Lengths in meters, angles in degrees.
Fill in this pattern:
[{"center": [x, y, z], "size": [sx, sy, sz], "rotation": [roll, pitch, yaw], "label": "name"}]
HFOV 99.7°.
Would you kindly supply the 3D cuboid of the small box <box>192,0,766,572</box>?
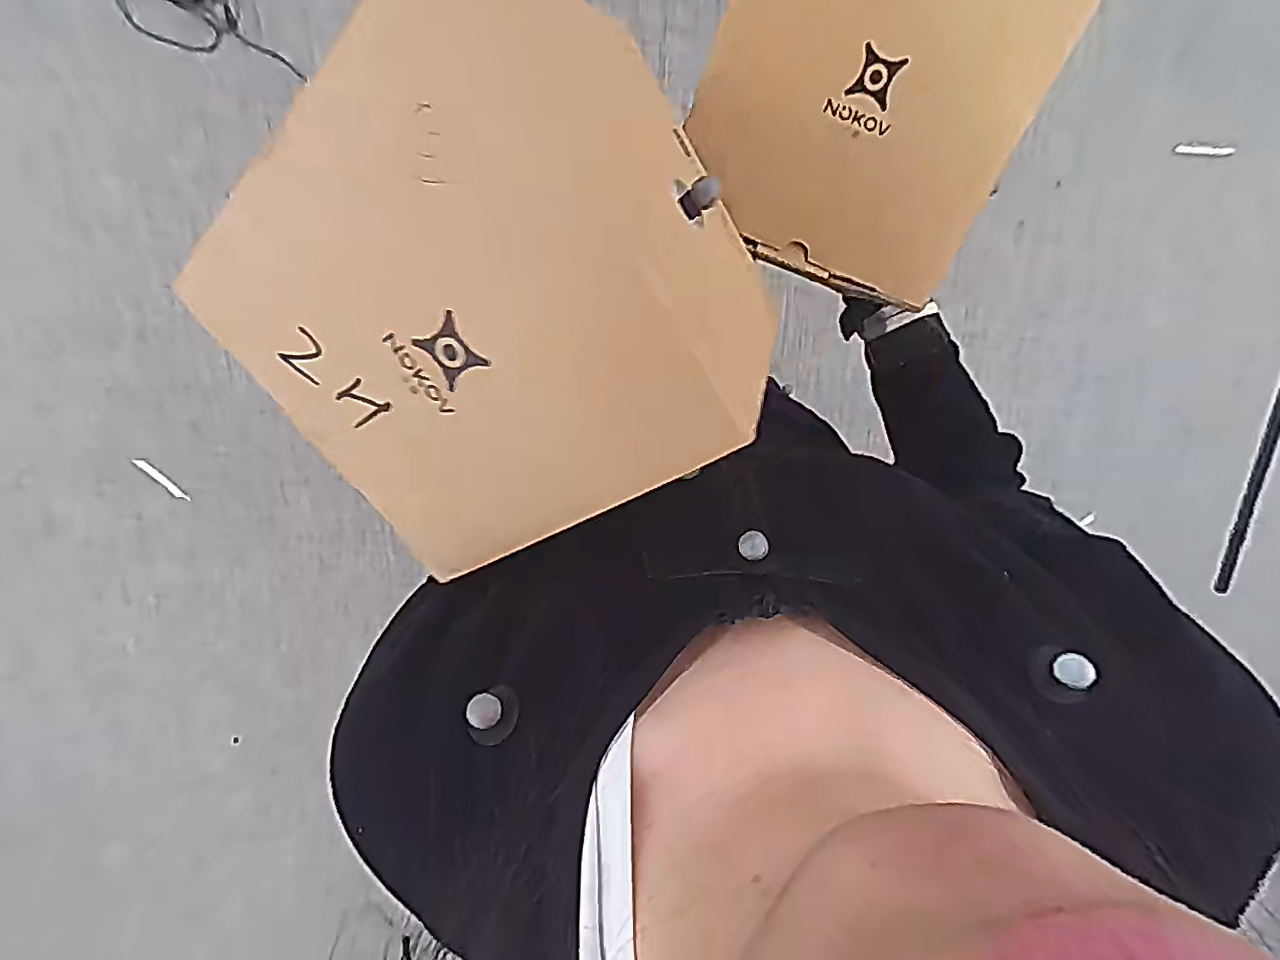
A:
[{"center": [-0.049, -0.088, 0.268], "size": [0.179, 0.176, 0.168], "rotation": [-24, 109, 29], "label": "small box"}]
